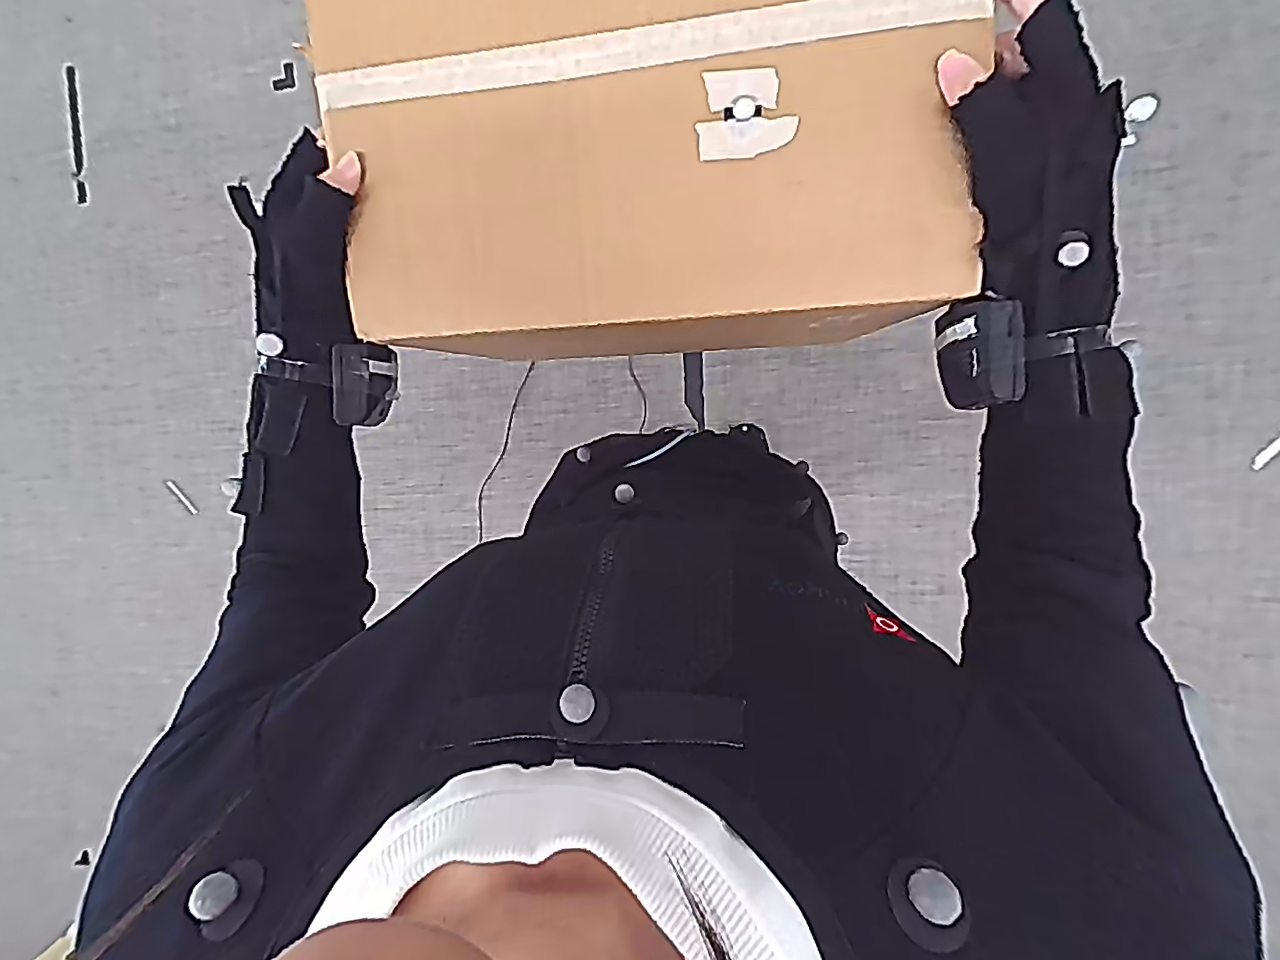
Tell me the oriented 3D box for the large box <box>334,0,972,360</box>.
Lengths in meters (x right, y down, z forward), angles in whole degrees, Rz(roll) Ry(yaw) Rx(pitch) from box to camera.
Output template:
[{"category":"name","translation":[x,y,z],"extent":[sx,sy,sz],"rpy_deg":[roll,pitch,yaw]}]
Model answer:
[{"category":"large box","translation":[0.014,-0.288,0.486],"extent":[0.408,0.320,0.320],"rpy_deg":[-2,100,7]}]
